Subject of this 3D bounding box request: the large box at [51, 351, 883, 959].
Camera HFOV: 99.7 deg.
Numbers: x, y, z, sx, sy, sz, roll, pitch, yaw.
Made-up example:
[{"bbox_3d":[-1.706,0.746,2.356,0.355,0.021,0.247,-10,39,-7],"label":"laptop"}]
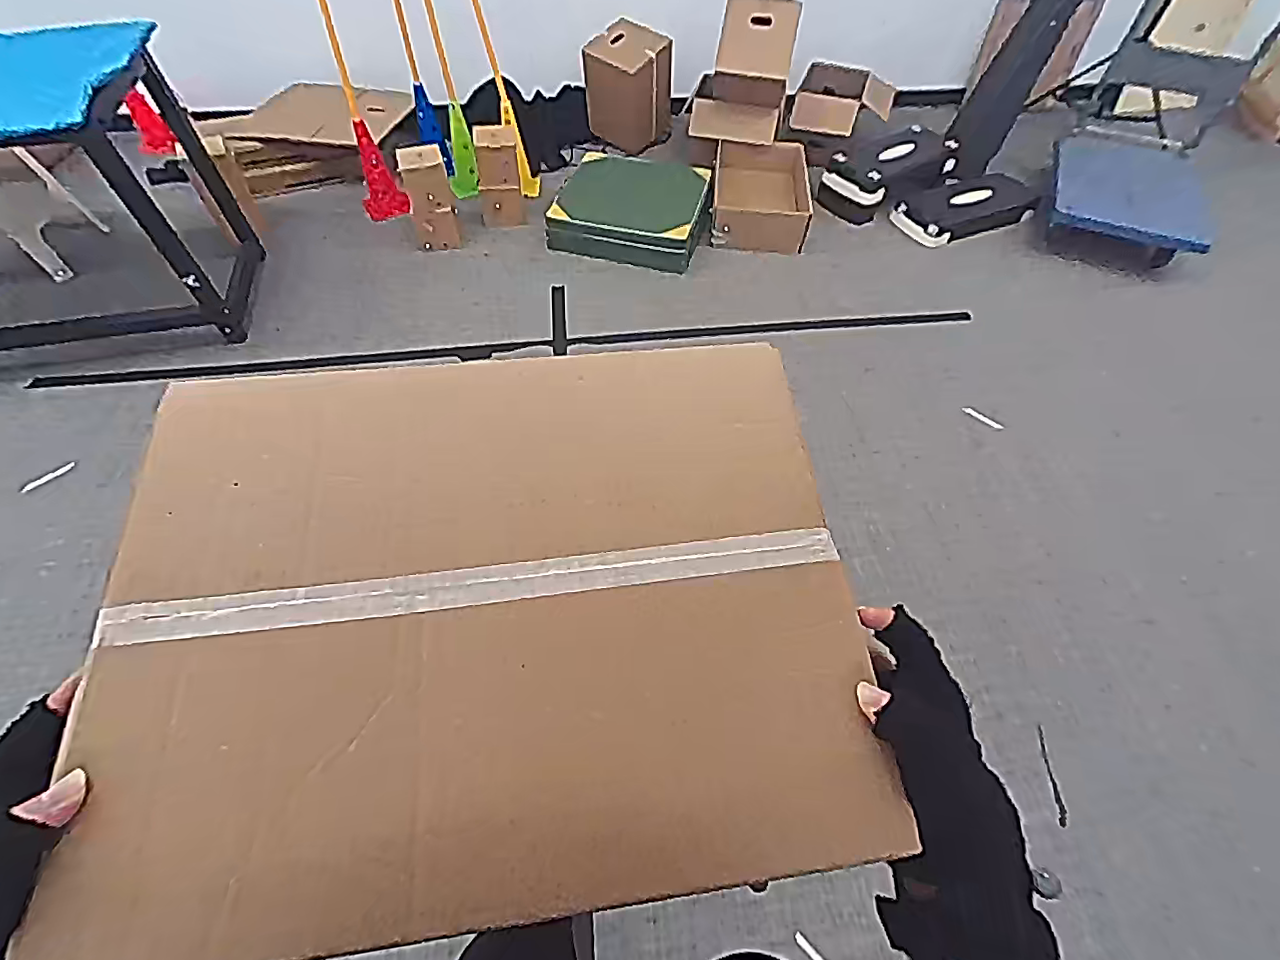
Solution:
[{"bbox_3d":[-0.094,0.124,0.454,0.408,0.320,0.320,-6,65,-6],"label":"large box"}]
